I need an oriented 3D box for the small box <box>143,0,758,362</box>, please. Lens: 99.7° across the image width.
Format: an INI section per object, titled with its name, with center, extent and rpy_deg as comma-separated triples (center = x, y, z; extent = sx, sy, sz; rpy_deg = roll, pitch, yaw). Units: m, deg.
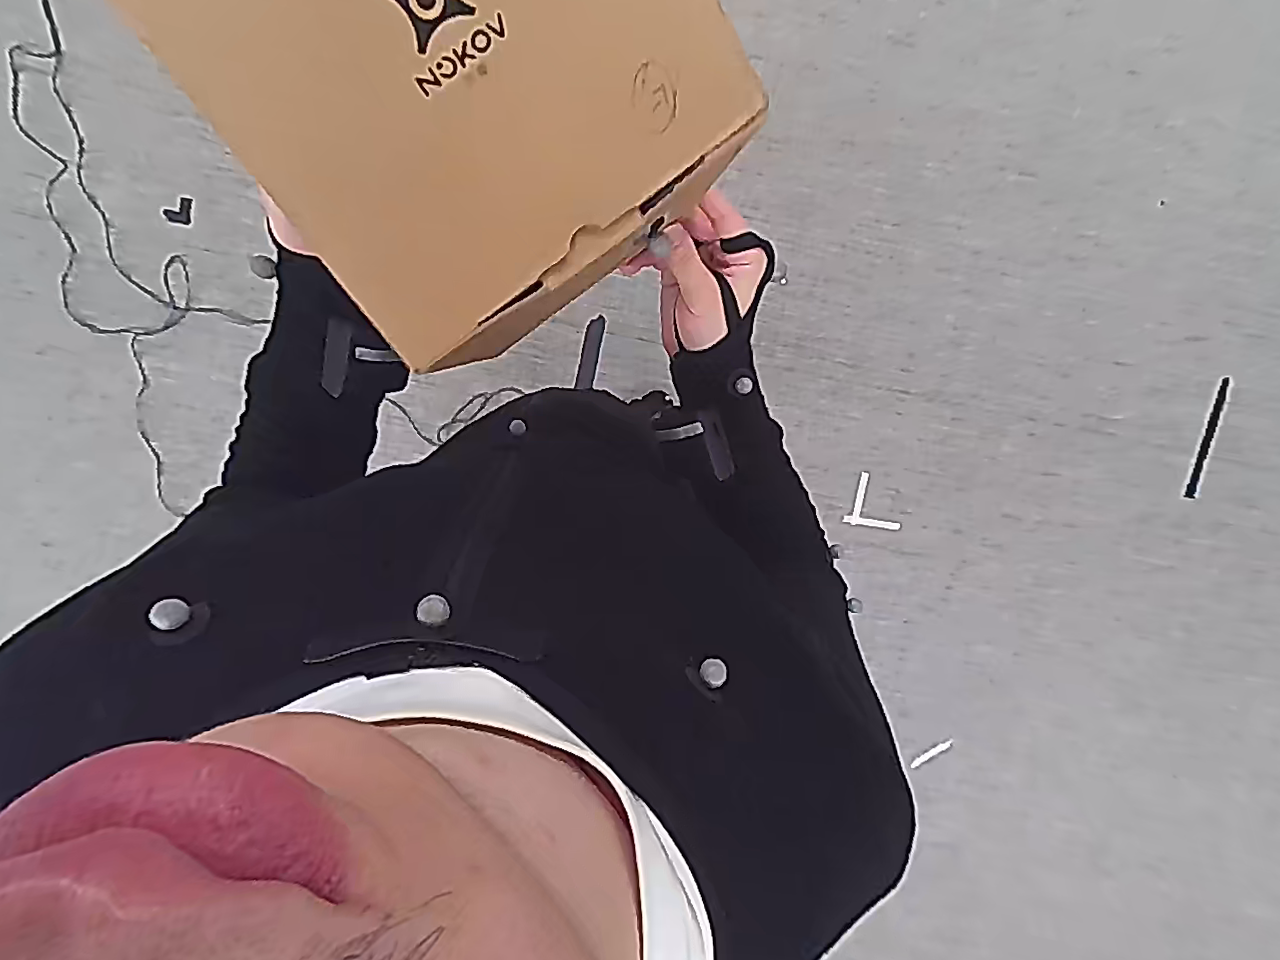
[small box]
center = -0.073, -0.180, 0.269
extent = 0.168, 0.176, 0.179
rpy_deg = -36, 104, 3
